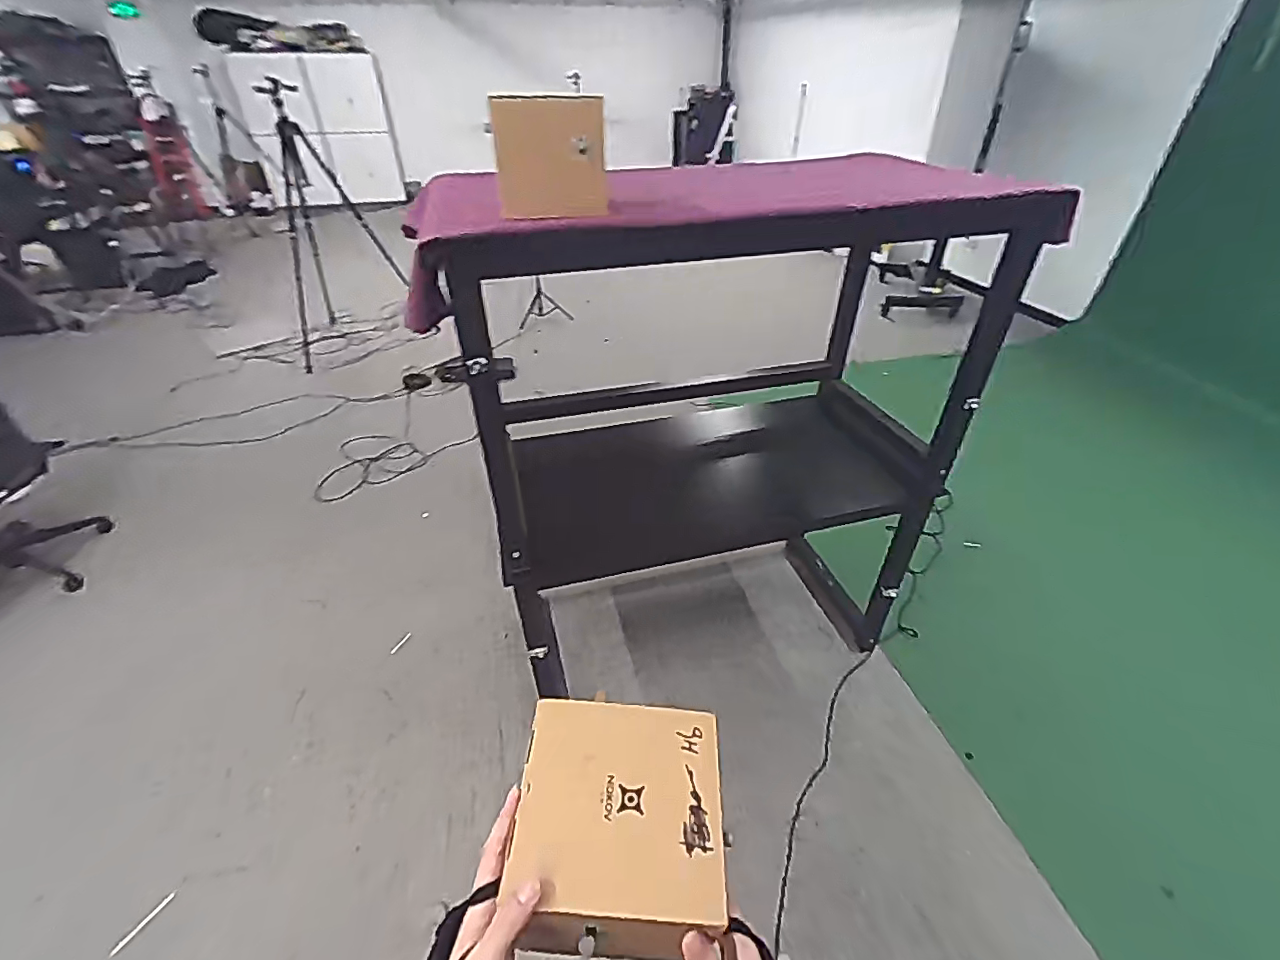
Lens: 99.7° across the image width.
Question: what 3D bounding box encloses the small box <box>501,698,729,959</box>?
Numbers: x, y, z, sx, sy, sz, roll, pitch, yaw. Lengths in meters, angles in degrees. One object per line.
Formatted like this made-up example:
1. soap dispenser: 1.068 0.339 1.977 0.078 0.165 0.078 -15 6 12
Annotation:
1. small box: -0.018 0.333 0.515 0.179 0.176 0.168 5 40 0
